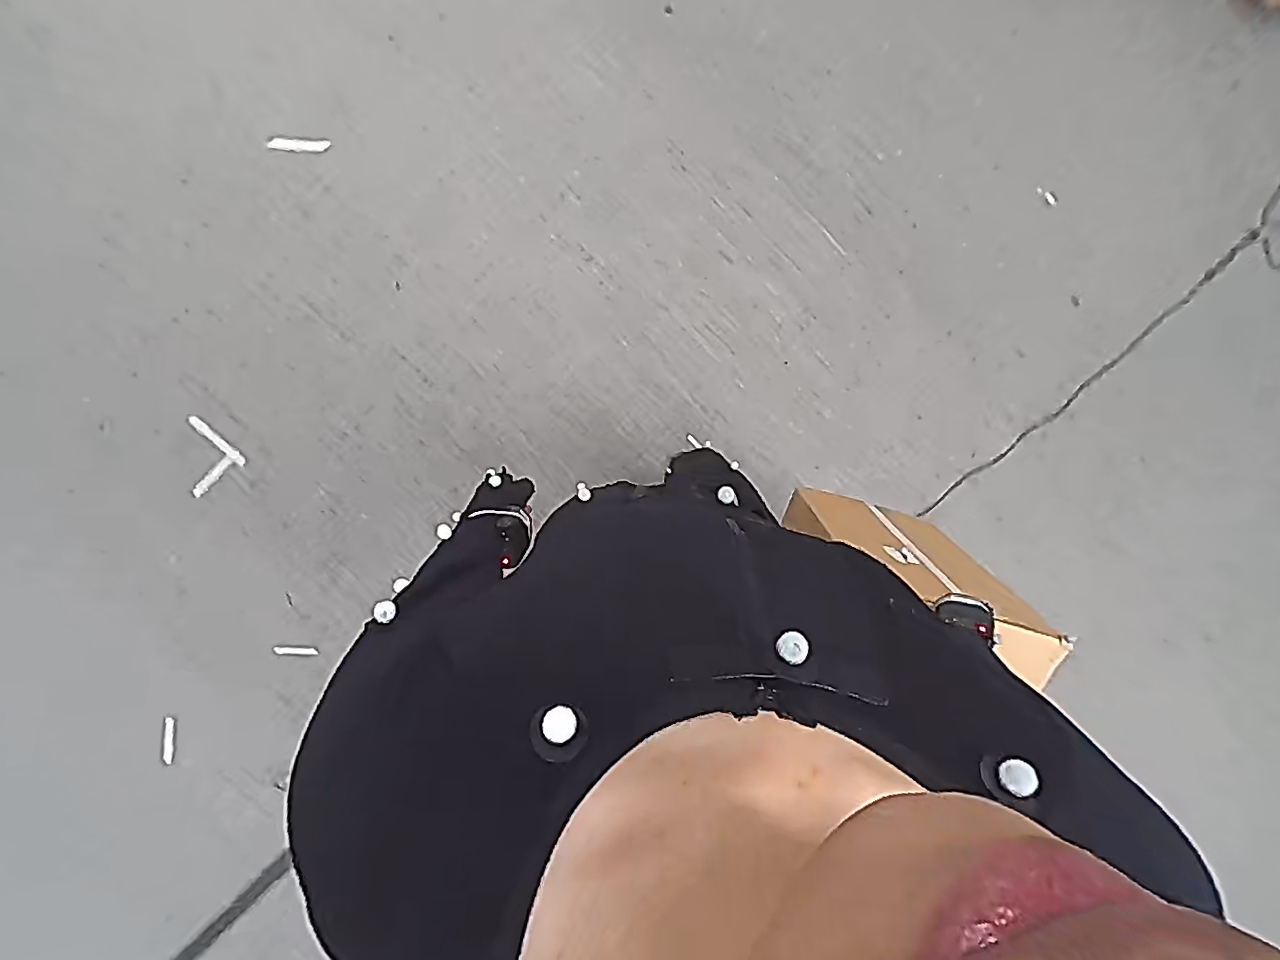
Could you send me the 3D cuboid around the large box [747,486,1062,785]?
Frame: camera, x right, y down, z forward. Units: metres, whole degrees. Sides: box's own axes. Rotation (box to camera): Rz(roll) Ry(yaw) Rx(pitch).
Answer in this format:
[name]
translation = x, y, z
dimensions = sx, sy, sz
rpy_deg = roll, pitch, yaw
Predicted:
[large box]
translation = 0.422, 0.256, 0.997
dimensions = 0.320, 0.408, 0.320
rpy_deg = 14, 110, -4
